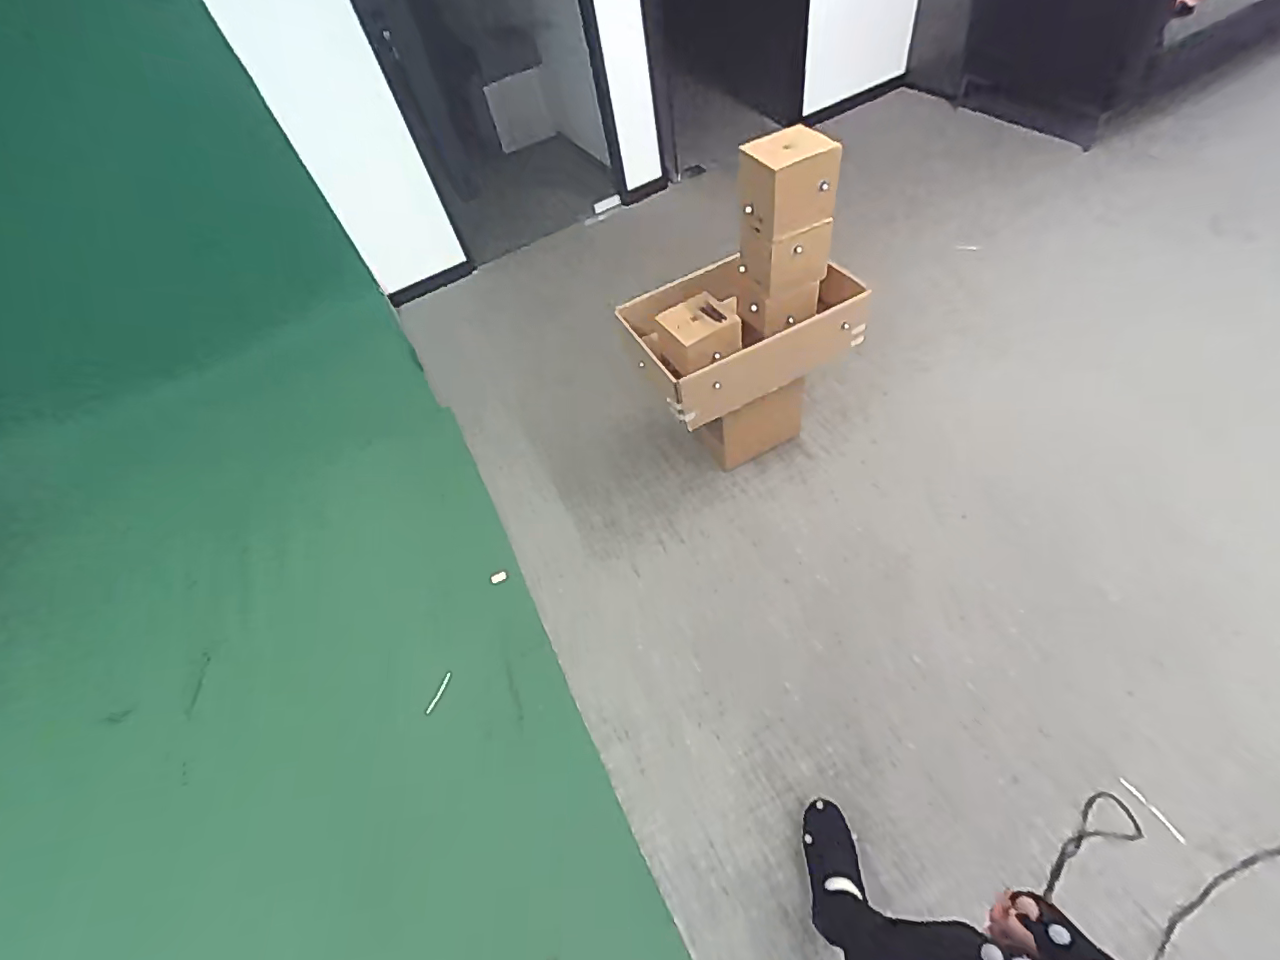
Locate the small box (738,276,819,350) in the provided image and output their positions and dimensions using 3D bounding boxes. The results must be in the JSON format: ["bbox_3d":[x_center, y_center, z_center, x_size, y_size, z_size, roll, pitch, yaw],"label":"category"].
[{"bbox_3d":[0.399,-0.500,1.573,0.168,0.176,0.179,-23,51,-6],"label":"small box"}]

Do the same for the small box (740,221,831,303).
[{"bbox_3d":[0.385,-0.604,1.446,0.179,0.176,0.168,-23,52,-7],"label":"small box"}]

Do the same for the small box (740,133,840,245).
[{"bbox_3d":[0.360,-0.711,1.326,0.179,0.176,0.168,-24,51,-7],"label":"small box"}]
